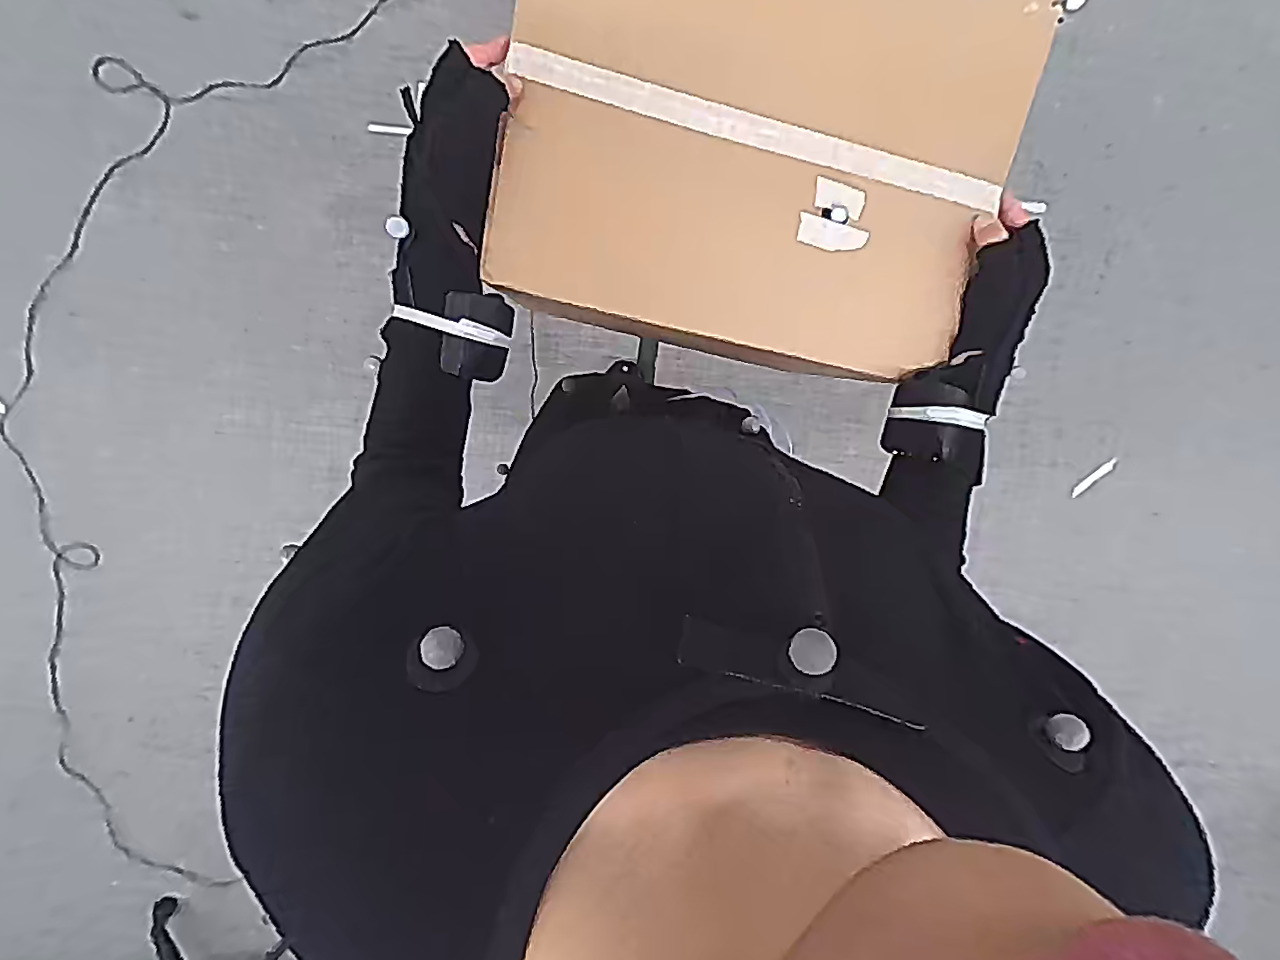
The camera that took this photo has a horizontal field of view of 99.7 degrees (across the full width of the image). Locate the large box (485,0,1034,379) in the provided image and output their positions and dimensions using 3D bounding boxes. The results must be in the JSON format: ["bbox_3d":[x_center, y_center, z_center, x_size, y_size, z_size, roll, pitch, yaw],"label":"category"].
[{"bbox_3d":[0.076,-0.304,0.575,0.408,0.320,0.320,10,104,-9],"label":"large box"}]
